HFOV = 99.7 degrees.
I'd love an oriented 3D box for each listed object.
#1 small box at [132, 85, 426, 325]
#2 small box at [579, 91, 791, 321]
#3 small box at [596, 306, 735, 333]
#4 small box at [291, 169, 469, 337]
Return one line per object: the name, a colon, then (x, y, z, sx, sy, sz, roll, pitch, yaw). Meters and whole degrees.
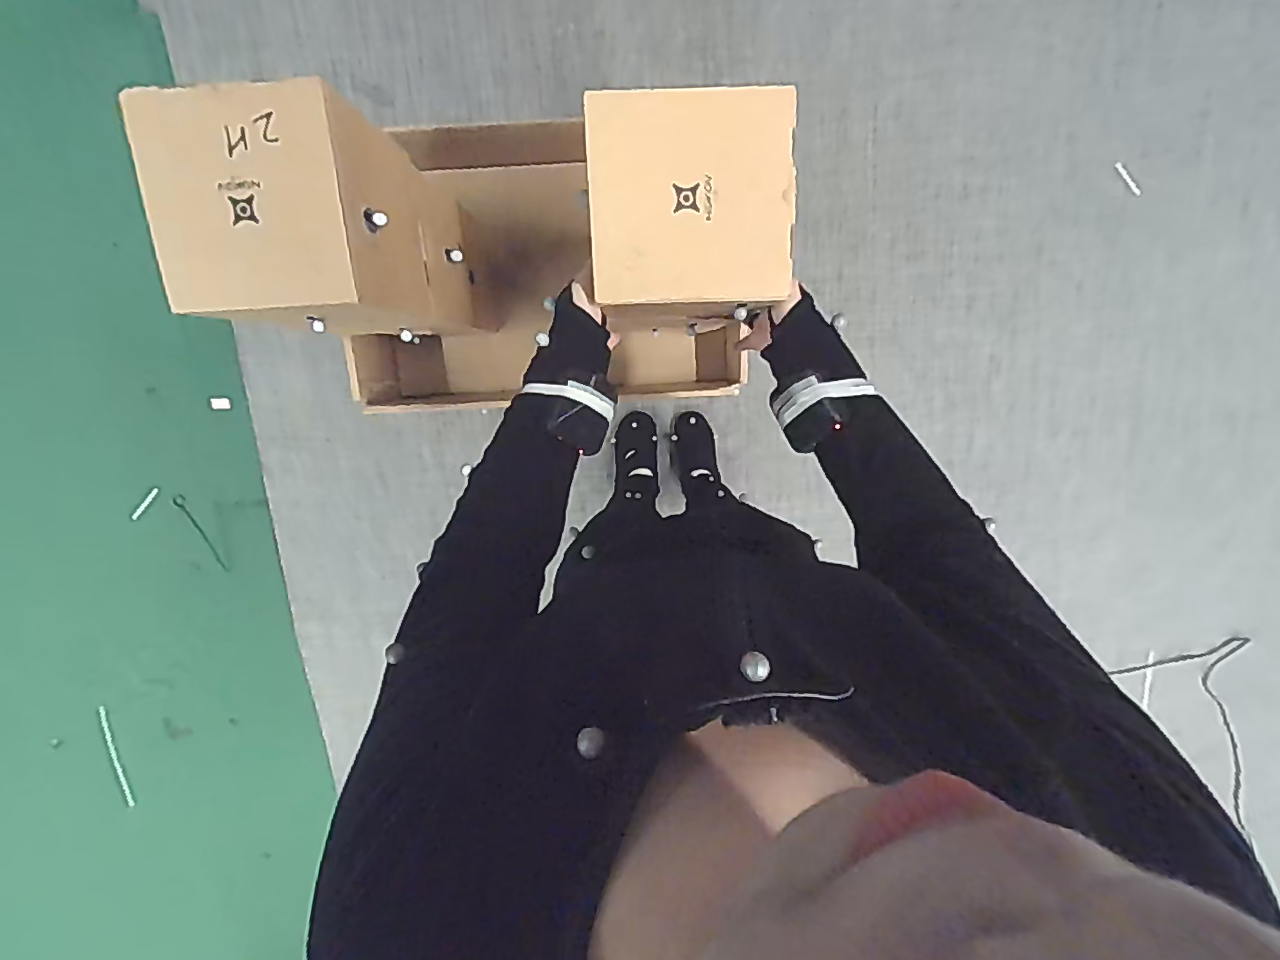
small box: (-0.327, -0.248, 0.533, 0.168, 0.176, 0.179, -2, 101, 1)
small box: (0.038, -0.251, 0.534, 0.179, 0.176, 0.168, -2, 102, -2)
small box: (0.035, -0.285, 0.693, 0.168, 0.176, 0.179, 3, 101, -2)
small box: (-0.331, -0.279, 0.696, 0.179, 0.176, 0.168, -5, 101, 0)
